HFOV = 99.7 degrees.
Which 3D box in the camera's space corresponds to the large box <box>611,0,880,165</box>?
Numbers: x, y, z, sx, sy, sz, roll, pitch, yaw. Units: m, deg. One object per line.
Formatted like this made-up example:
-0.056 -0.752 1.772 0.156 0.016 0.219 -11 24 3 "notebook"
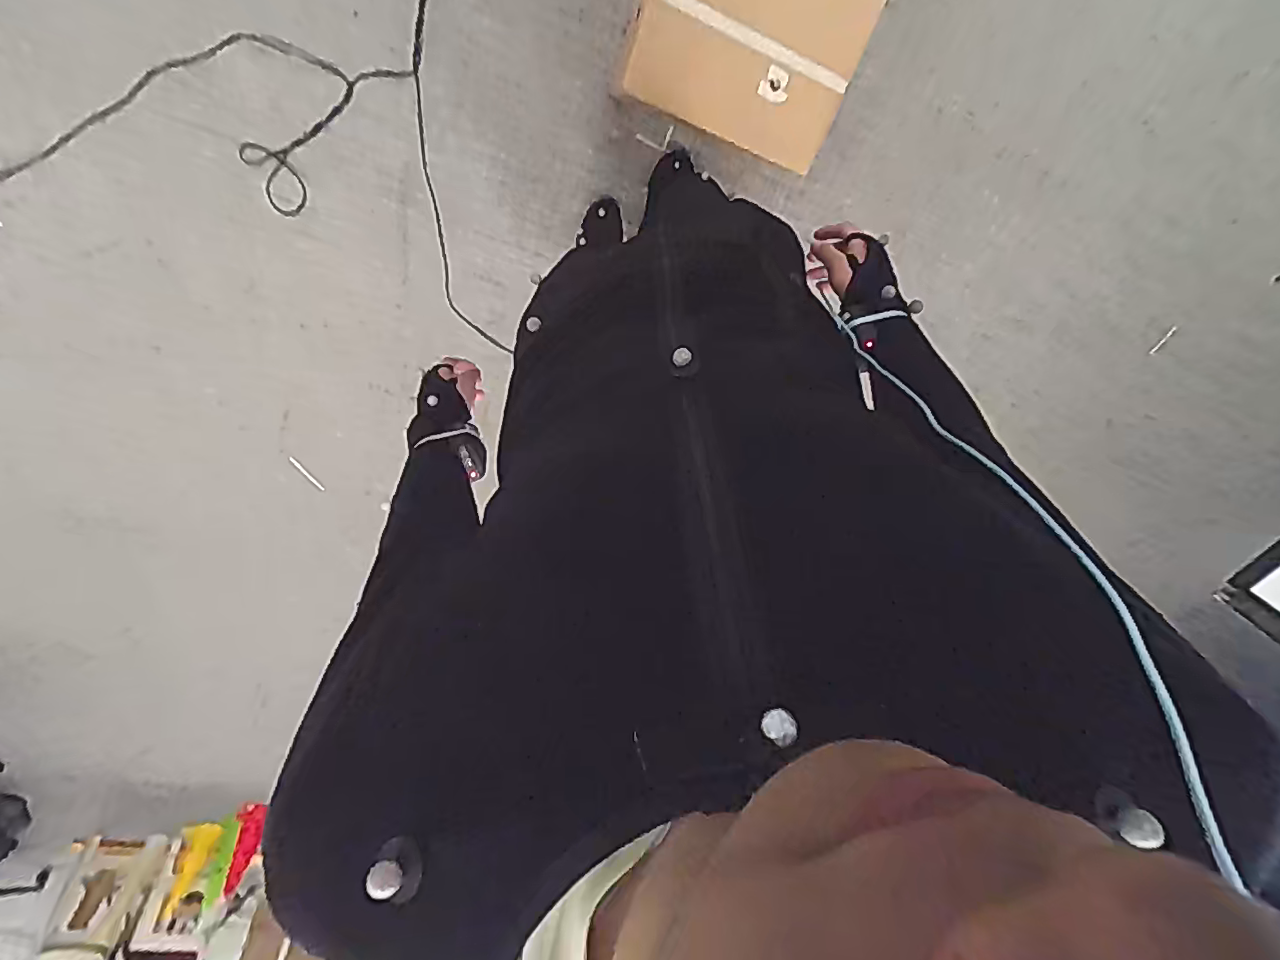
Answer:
0.184 -0.883 1.091 0.408 0.320 0.320 14 120 -17 "large box"
